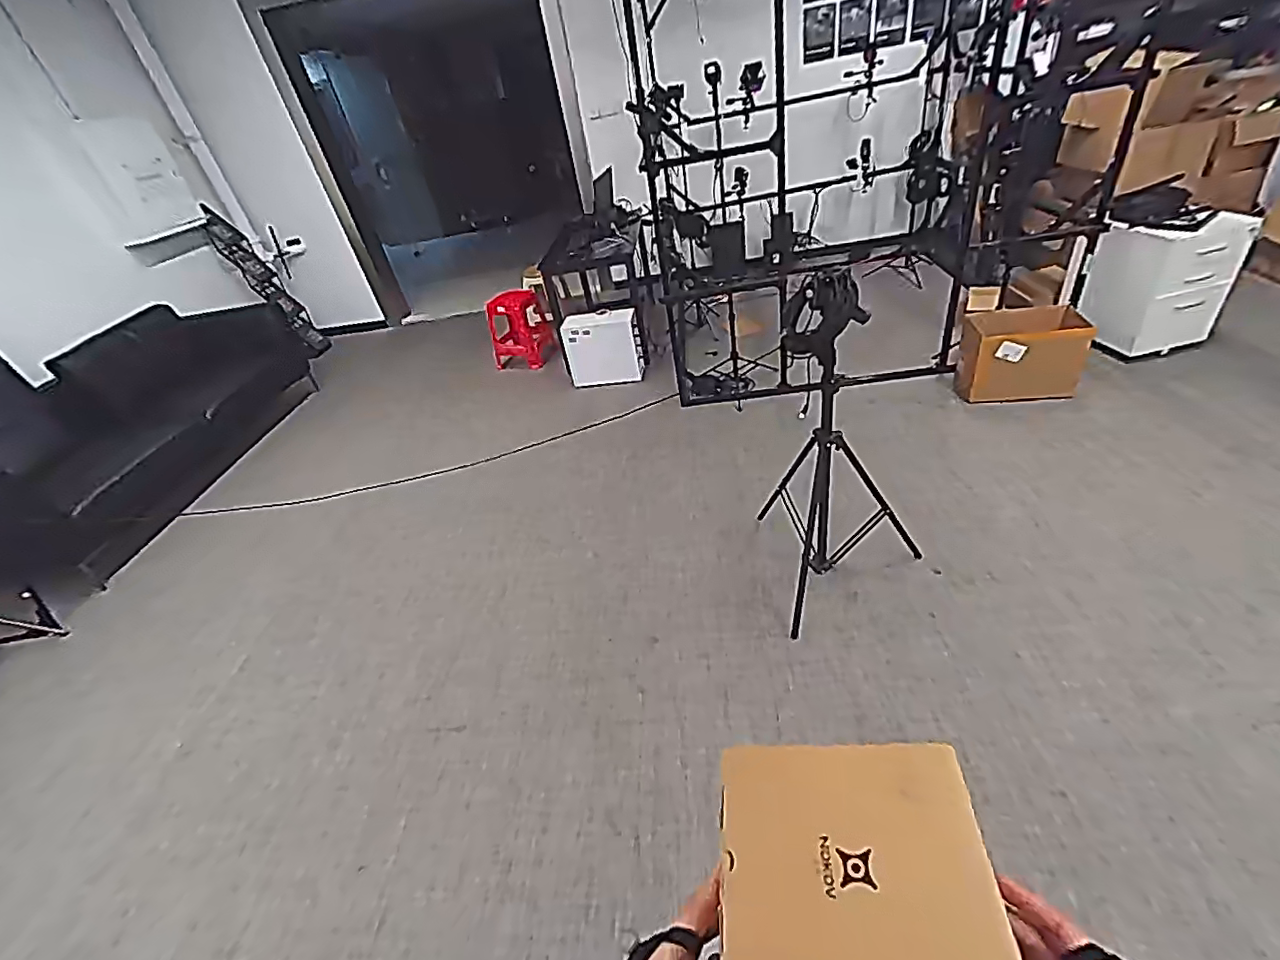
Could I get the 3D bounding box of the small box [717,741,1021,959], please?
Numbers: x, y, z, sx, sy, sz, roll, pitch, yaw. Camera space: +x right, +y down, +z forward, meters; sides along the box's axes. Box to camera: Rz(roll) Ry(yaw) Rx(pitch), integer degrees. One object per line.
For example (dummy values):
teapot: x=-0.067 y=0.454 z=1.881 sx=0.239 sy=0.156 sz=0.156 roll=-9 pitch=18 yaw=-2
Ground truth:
small box: x=0.160 y=0.317 z=0.406 sx=0.179 sy=0.176 sz=0.168 roll=-9 pitch=37 yaw=16
